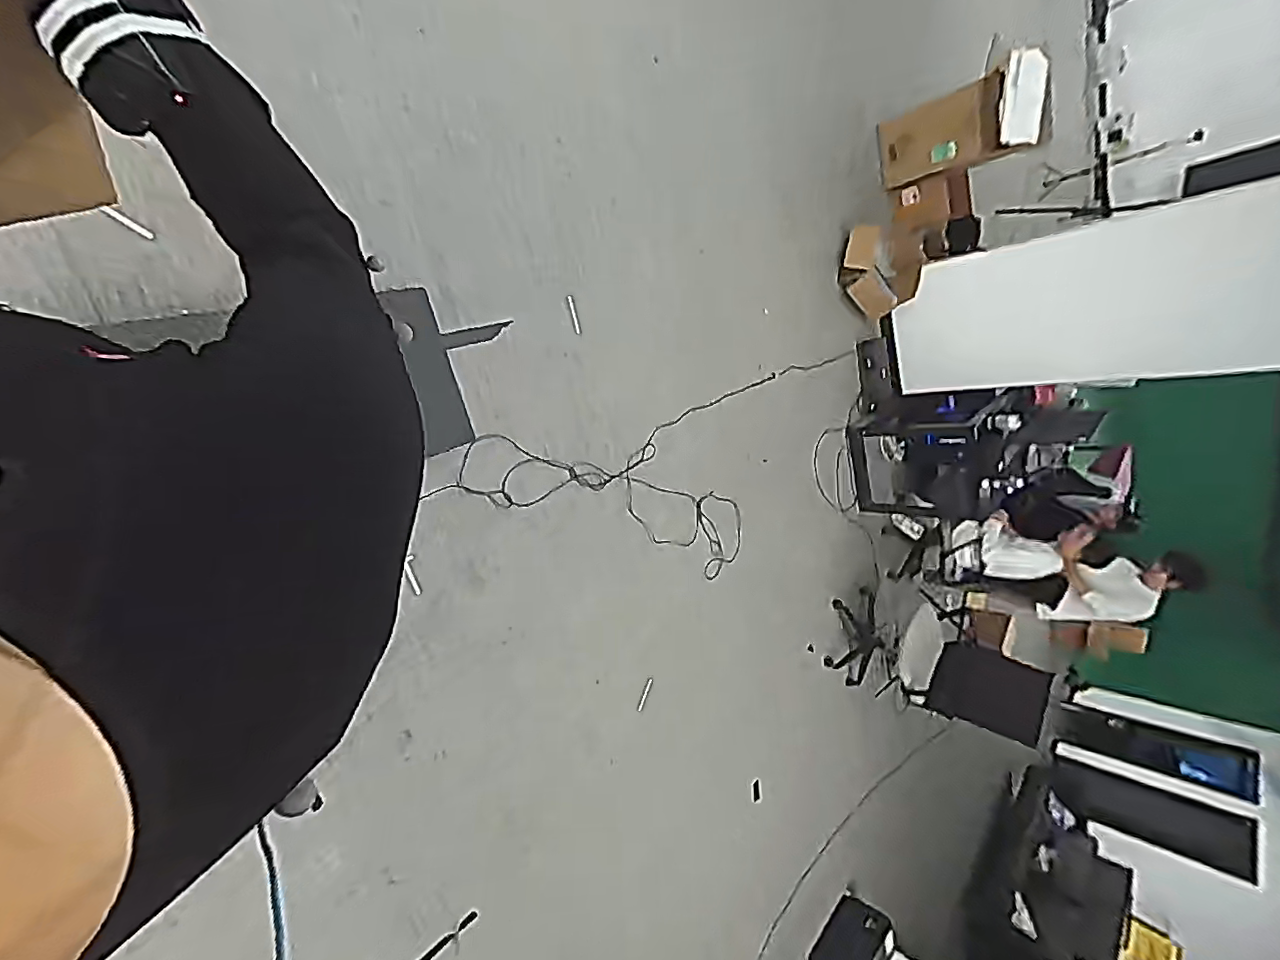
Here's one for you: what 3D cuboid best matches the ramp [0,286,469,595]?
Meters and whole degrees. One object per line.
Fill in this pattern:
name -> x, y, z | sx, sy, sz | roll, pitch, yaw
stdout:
ramp -> -0.903, -0.184, 1.337 | 0.991, 0.206, 0.509 | -30, 110, -38

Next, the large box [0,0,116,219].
large box -> -0.623, -0.320, 0.277 | 0.408, 0.320, 0.320 | -37, 111, -34
